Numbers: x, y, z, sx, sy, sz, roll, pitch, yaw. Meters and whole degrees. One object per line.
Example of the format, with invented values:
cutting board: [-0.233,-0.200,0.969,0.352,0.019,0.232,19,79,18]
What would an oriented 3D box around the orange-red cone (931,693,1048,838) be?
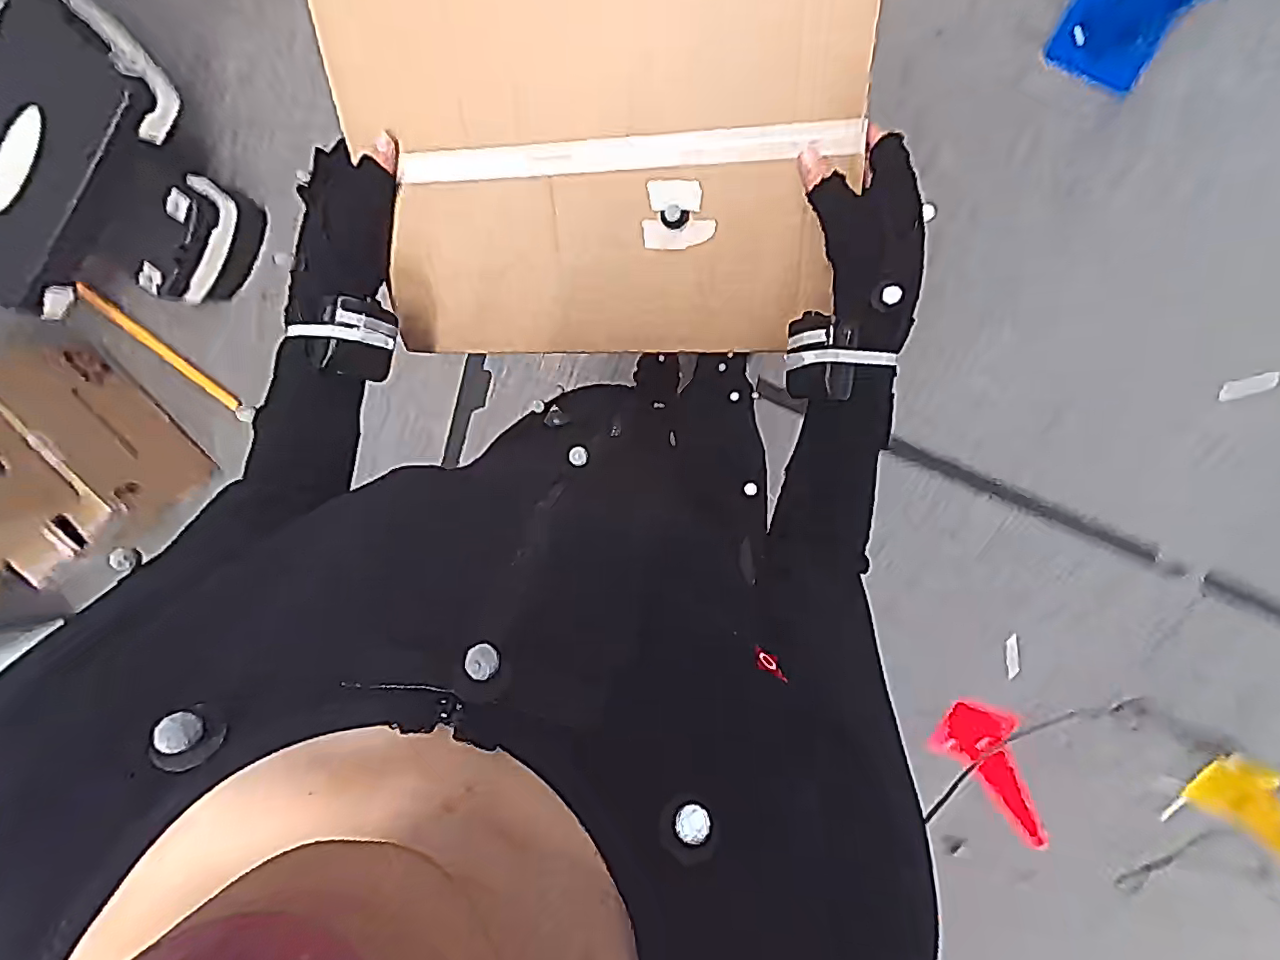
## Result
orange-red cone: [1.005,0.806,1.493,0.199,0.360,0.198,19,112,-2]

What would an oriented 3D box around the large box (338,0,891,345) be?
large box: [-0.006,-0.331,0.551,0.408,0.320,0.320,3,120,9]

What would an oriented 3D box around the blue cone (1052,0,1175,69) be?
blue cone: [0.921,-0.883,0.909,0.193,0.380,0.192,25,110,-3]
